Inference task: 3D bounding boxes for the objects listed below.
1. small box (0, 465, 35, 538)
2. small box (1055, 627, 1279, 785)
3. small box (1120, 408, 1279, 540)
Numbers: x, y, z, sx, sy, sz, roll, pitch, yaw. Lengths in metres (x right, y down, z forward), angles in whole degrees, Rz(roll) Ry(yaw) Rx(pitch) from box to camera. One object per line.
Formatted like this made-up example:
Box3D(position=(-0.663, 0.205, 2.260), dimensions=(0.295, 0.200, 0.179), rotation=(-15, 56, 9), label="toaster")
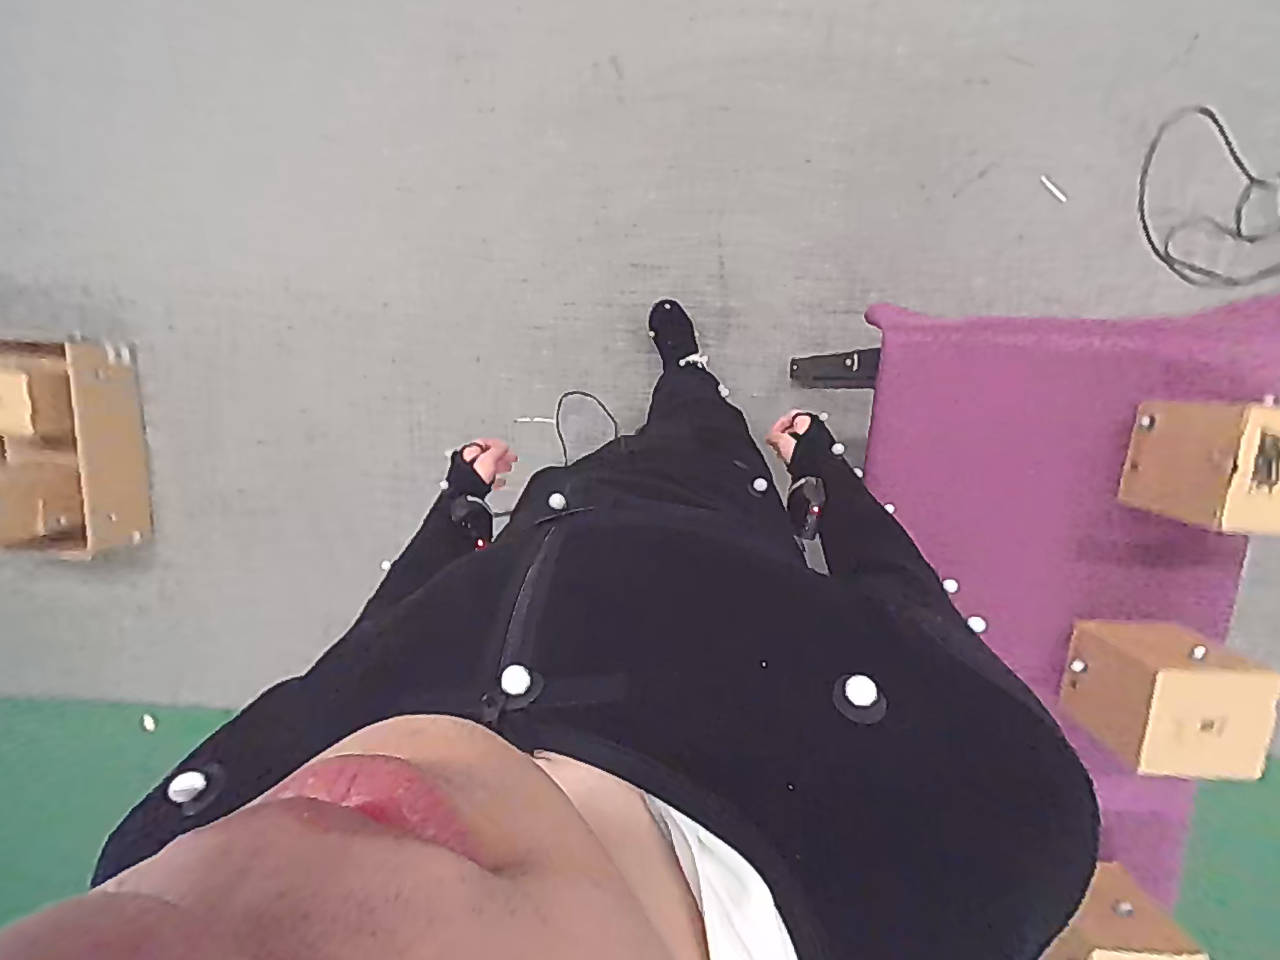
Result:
Box3D(position=(-1.724, 0.052, 1.386), dimensions=(0.168, 0.176, 0.179), rotation=(14, 99, 0), label="small box")
Box3D(position=(0.812, 0.345, 0.851), dimensions=(0.179, 0.176, 0.168), rotation=(3, 100, 2), label="small box")
Box3D(position=(0.859, -0.013, 0.781), dimensions=(0.179, 0.176, 0.168), rotation=(4, 101, 2), label="small box")
